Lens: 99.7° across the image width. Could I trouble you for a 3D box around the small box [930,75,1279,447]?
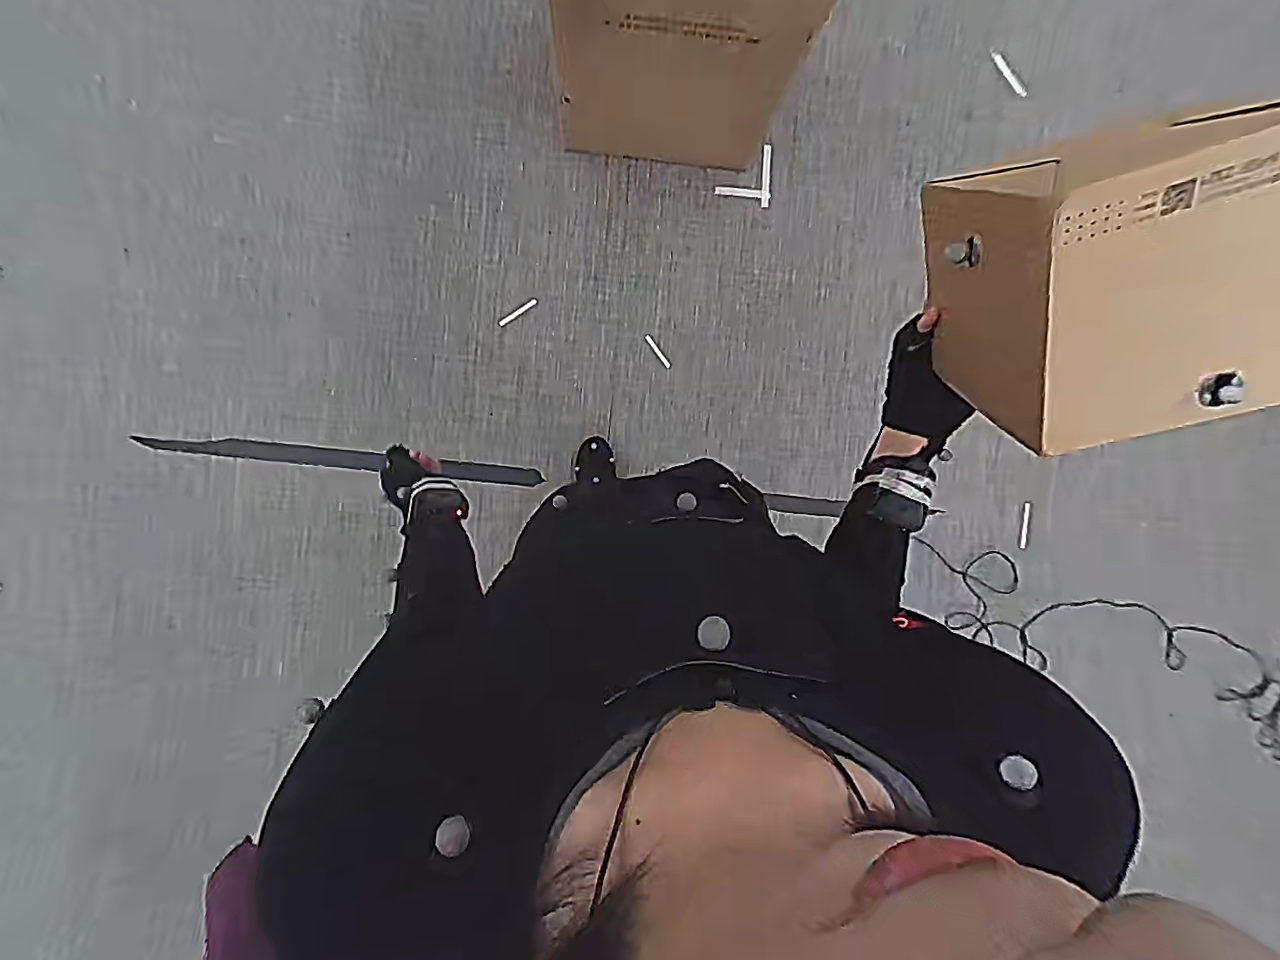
[{"bbox_3d":[0.317,-0.152,0.371,0.168,0.179,0.176,-15,119,13],"label":"small box"}]
